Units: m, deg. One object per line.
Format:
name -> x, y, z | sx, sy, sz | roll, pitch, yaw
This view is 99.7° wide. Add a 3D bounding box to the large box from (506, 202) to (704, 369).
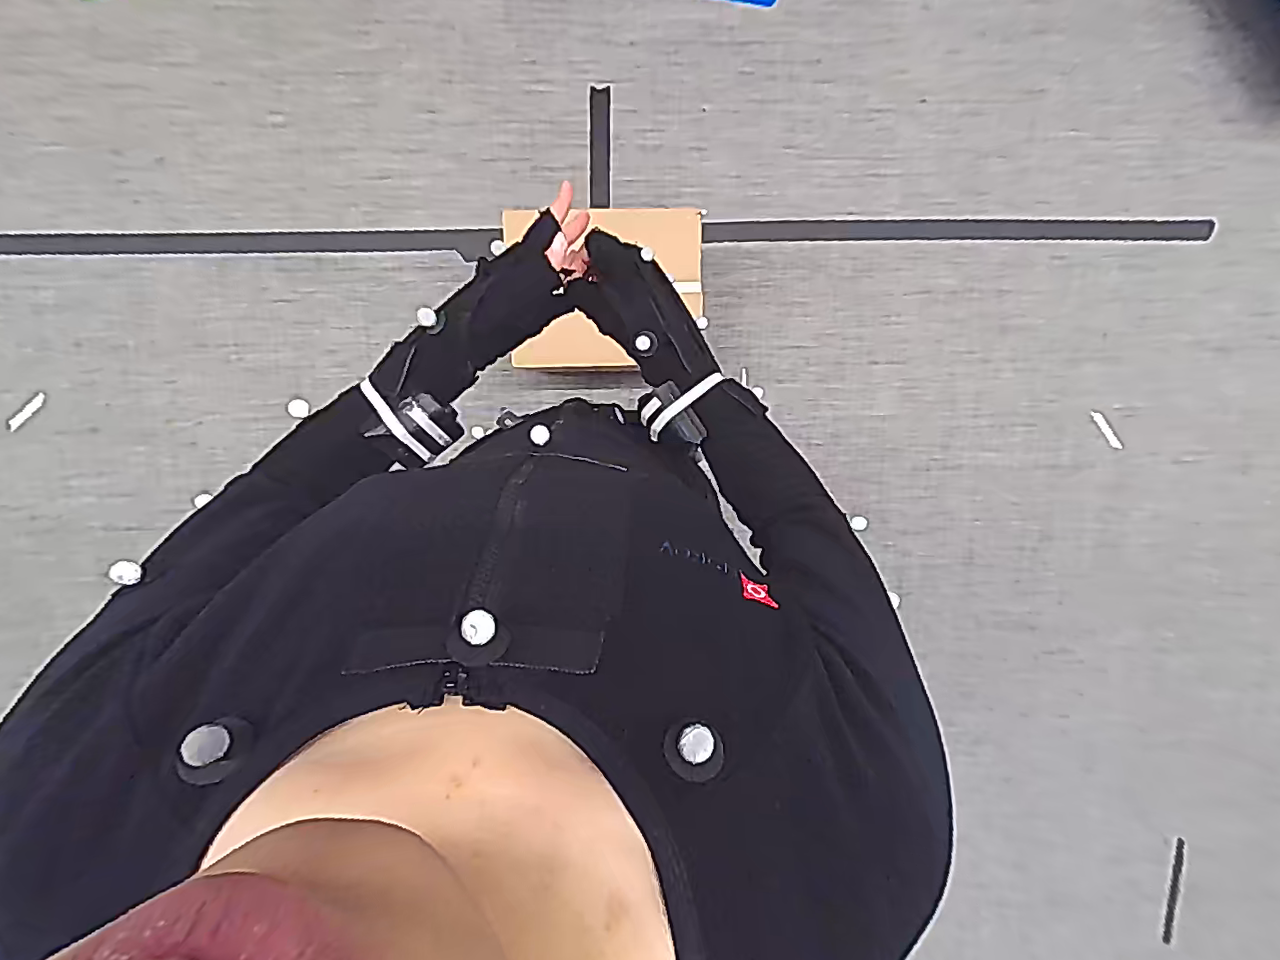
large box -> -0.075, -0.432, 1.267 | 0.408, 0.320, 0.320 | -2, 100, -2
